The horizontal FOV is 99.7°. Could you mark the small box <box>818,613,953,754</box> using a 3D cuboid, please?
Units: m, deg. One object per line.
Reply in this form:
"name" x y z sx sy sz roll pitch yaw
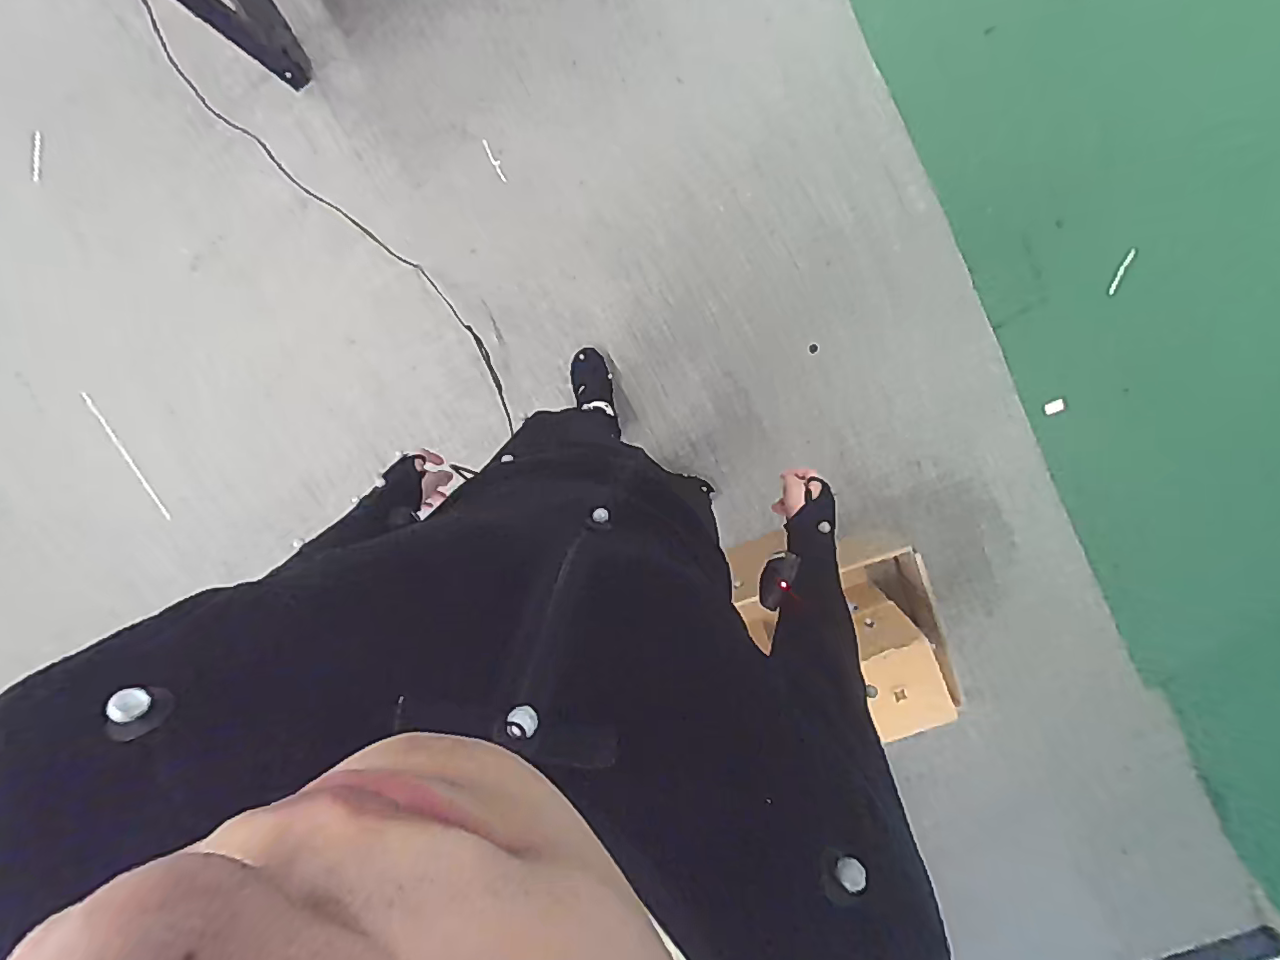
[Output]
"small box" 0.474 0.393 1.067 0.168 0.176 0.179 -23 97 9
